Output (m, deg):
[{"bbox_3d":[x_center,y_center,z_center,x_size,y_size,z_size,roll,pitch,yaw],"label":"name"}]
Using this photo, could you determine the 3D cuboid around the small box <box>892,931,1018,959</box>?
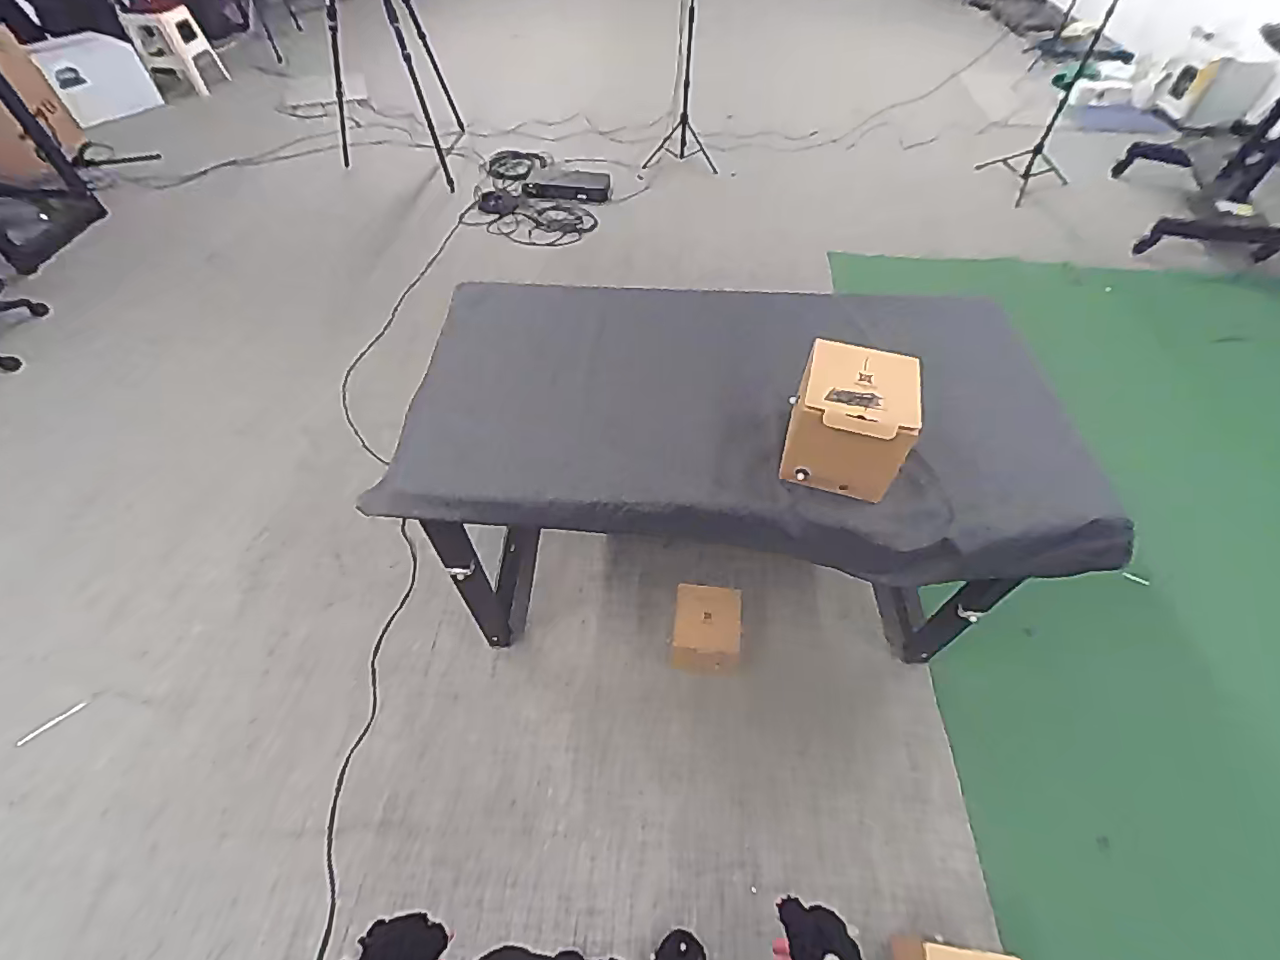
[{"bbox_3d":[0.586,0.955,1.002,0.179,0.176,0.168,6,53,5],"label":"small box"}]

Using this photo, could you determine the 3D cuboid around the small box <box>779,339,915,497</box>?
[{"bbox_3d":[0.333,-0.098,0.886,0.168,0.176,0.179,15,53,10],"label":"small box"}]

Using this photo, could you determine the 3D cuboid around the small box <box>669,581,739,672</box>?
[{"bbox_3d":[0.168,0.390,1.429,0.168,0.176,0.179,6,51,3],"label":"small box"}]
